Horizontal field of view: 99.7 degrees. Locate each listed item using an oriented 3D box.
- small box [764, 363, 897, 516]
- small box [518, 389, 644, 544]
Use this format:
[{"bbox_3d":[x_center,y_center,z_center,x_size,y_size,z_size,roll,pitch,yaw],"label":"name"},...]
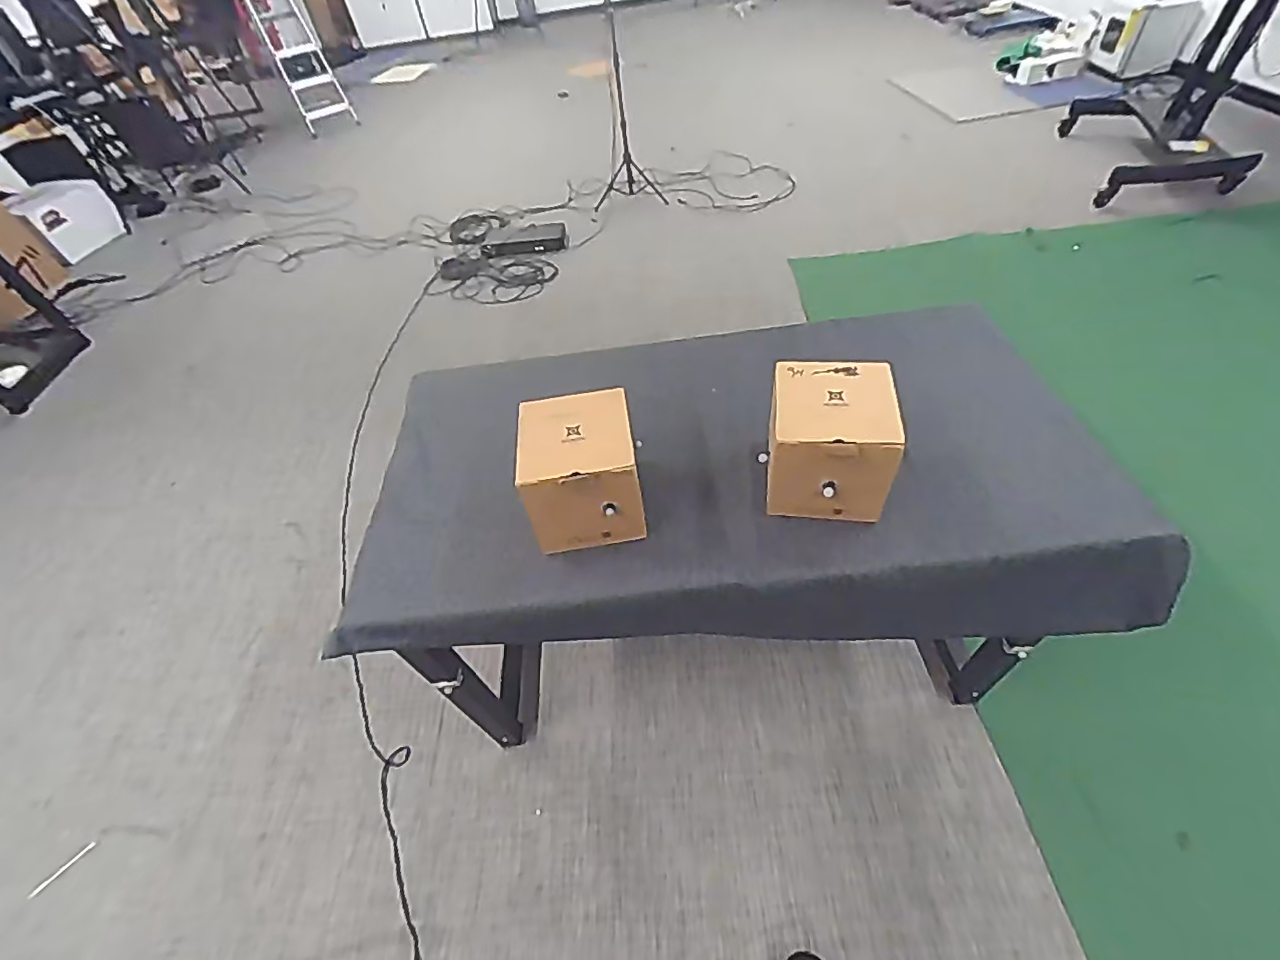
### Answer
[{"bbox_3d":[0.283,-0.061,0.836,0.168,0.176,0.179,3,50,11],"label":"small box"},{"bbox_3d":[-0.089,-0.015,0.849,0.168,0.176,0.179,-9,46,-2],"label":"small box"}]
